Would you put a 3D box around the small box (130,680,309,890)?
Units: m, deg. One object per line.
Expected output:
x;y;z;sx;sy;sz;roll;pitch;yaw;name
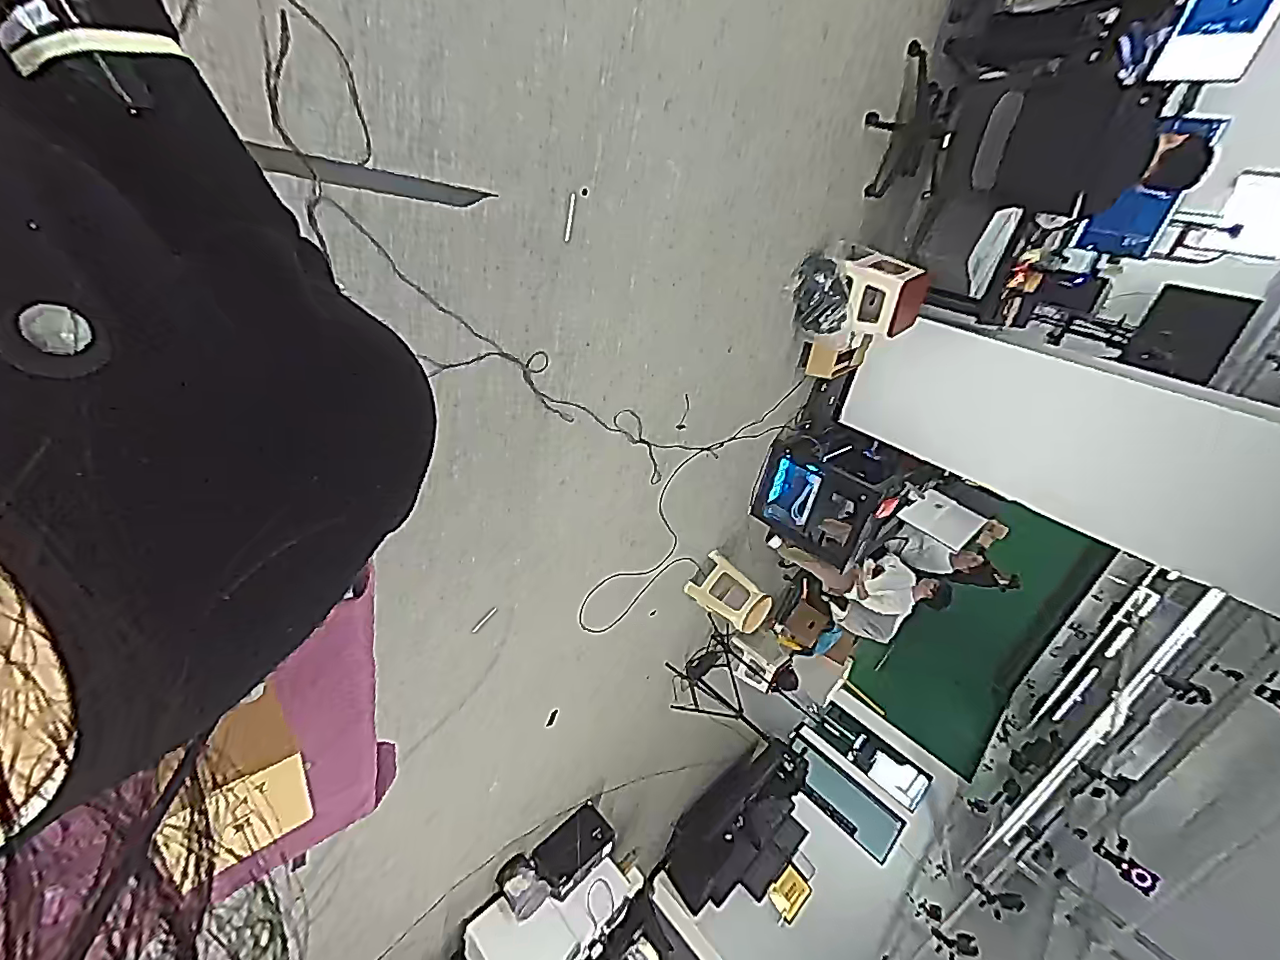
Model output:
-0.618;0.438;0.803;0.168;0.176;0.179;-19;131;-43;small box
